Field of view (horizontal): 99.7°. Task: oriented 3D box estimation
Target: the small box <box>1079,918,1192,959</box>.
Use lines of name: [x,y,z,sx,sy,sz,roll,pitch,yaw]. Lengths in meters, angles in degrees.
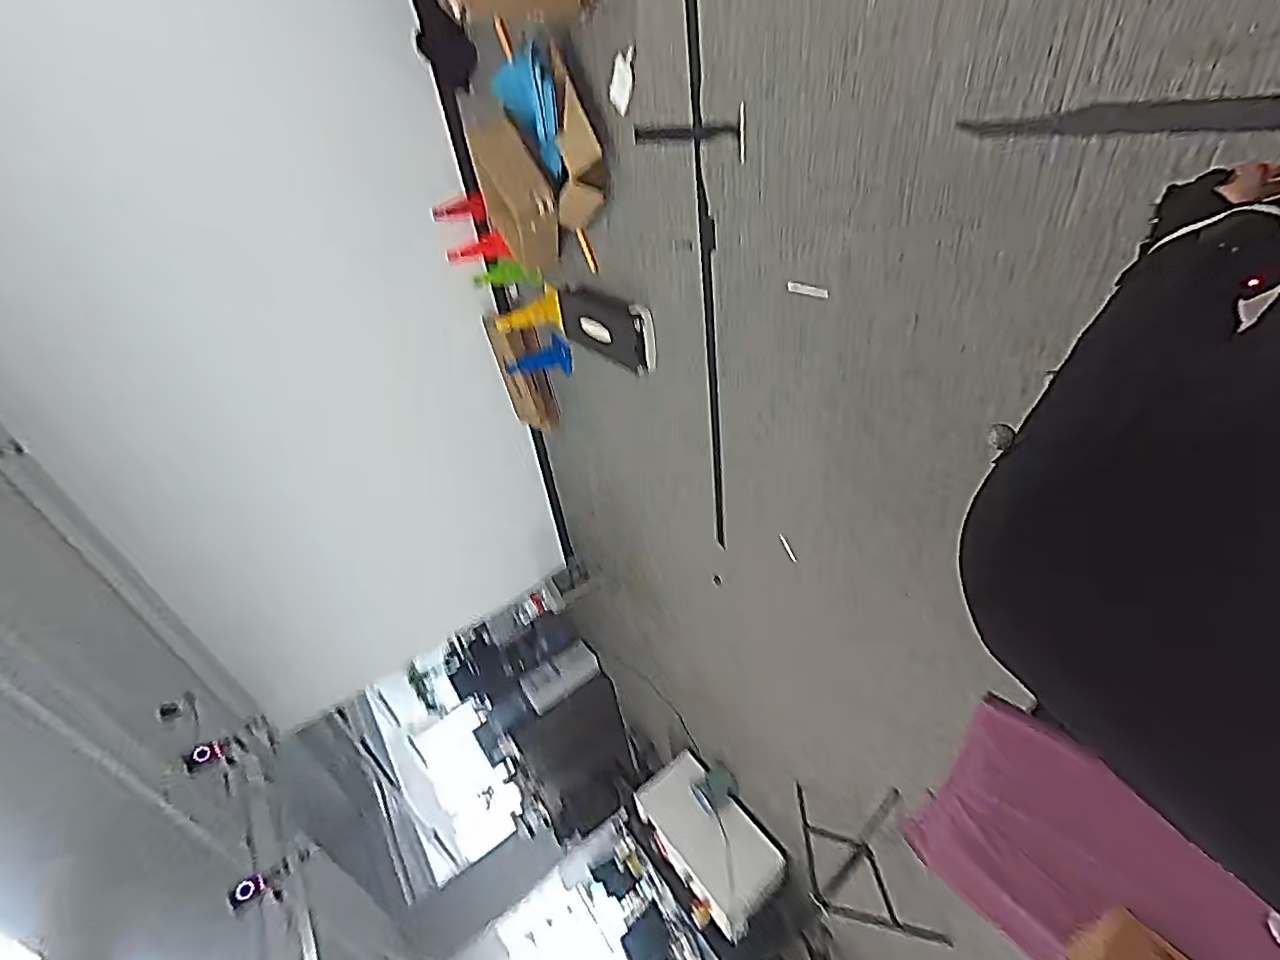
small box: [0.717,0.772,0.755,0.168,0.176,0.179,36,143,41]
